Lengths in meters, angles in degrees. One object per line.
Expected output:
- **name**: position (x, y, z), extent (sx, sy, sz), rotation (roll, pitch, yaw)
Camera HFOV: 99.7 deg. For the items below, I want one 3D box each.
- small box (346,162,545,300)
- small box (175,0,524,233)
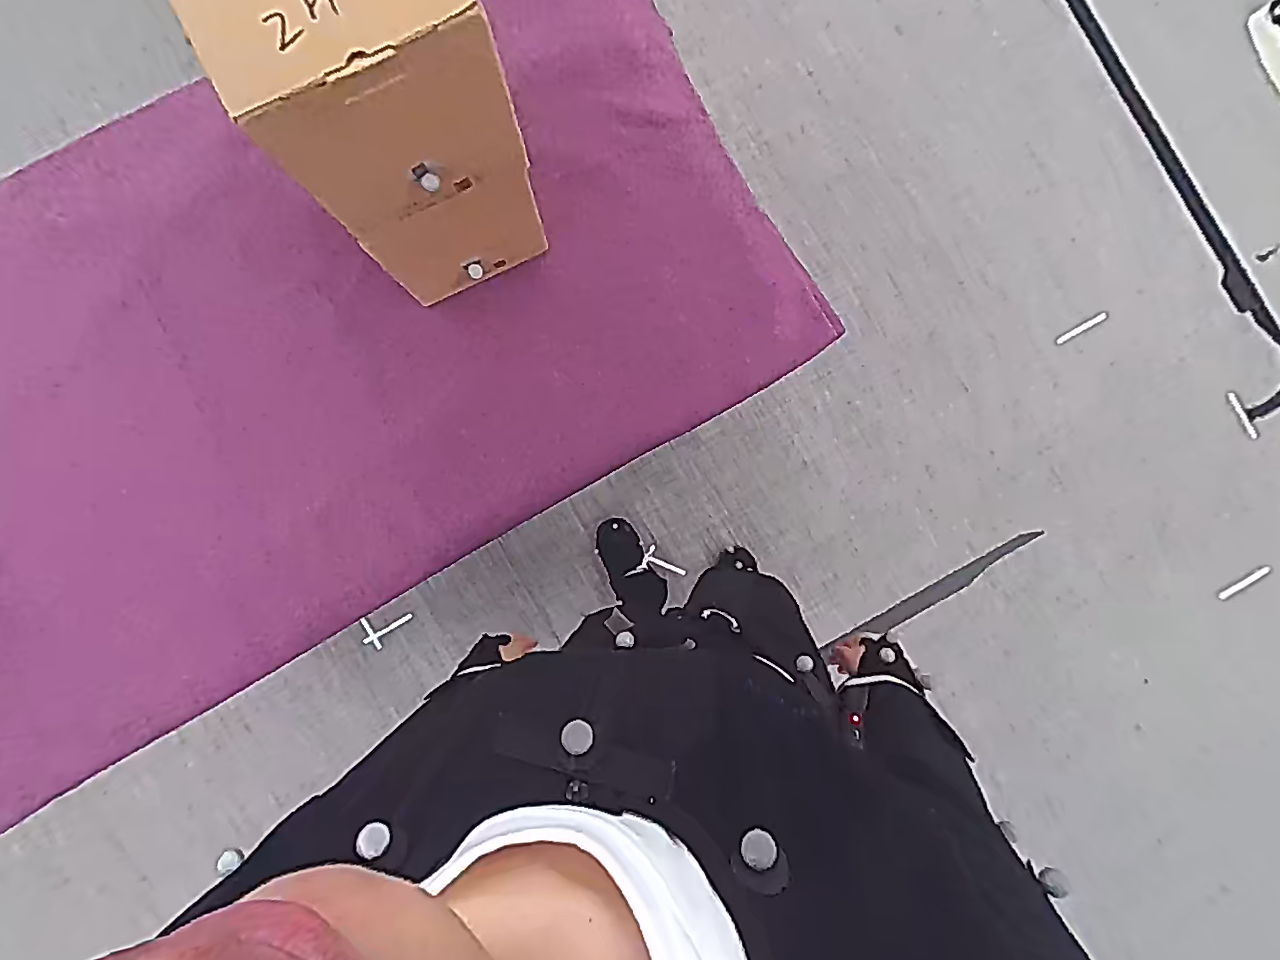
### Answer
- **small box**: position (-0.215, -0.320, 0.562), extent (0.168, 0.176, 0.179), rotation (-26, 91, -2)
- **small box**: position (-0.205, -0.323, 0.397), extent (0.168, 0.176, 0.179), rotation (-26, 90, -2)
